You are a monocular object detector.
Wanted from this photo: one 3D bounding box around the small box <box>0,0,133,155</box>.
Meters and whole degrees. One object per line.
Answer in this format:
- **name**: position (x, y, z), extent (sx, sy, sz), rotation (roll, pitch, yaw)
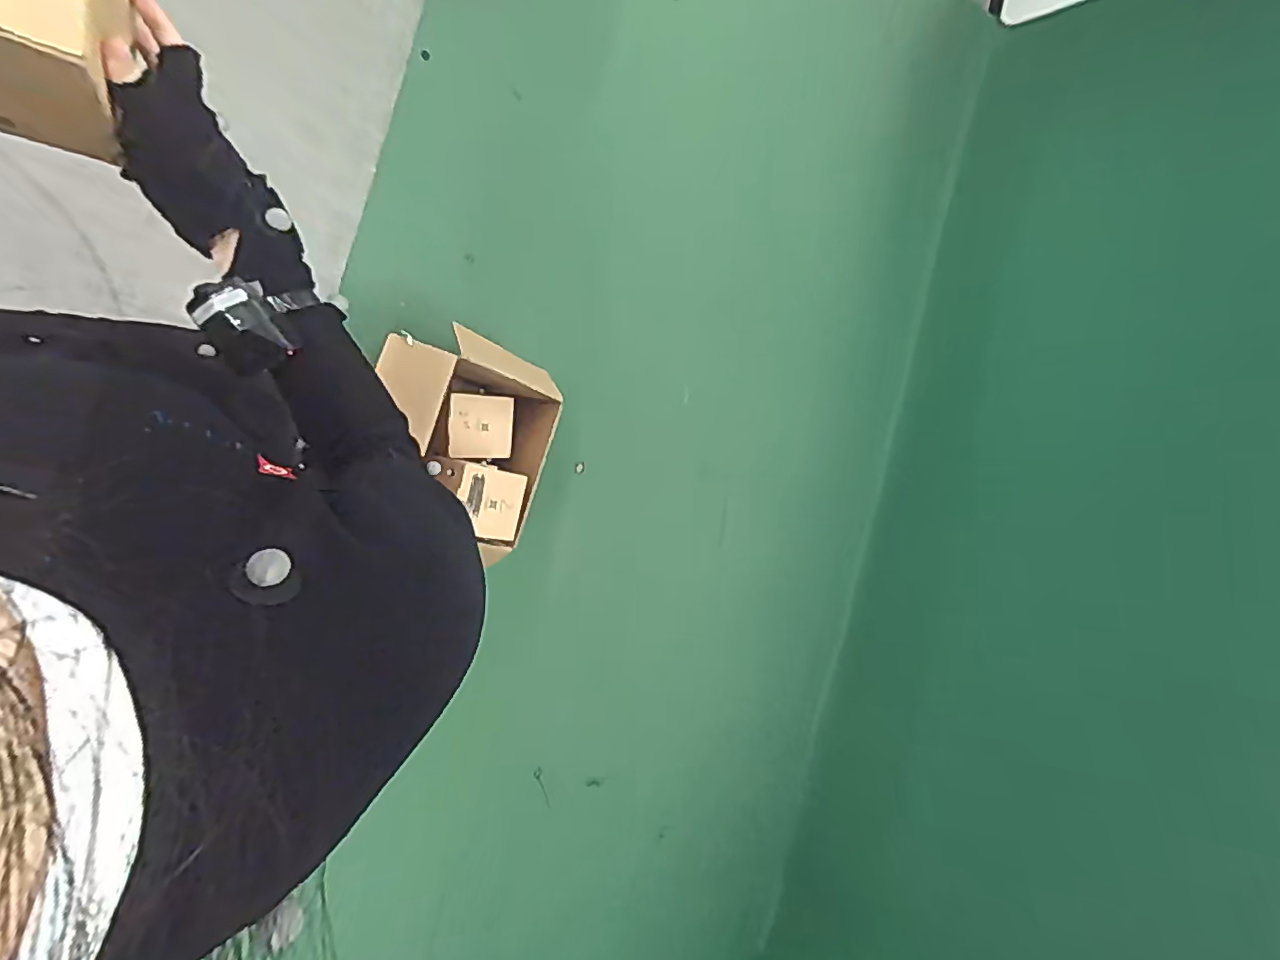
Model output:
- **small box**: position (-0.406, -0.324, 0.301), extent (0.168, 0.176, 0.179), rotation (3, 97, -38)
